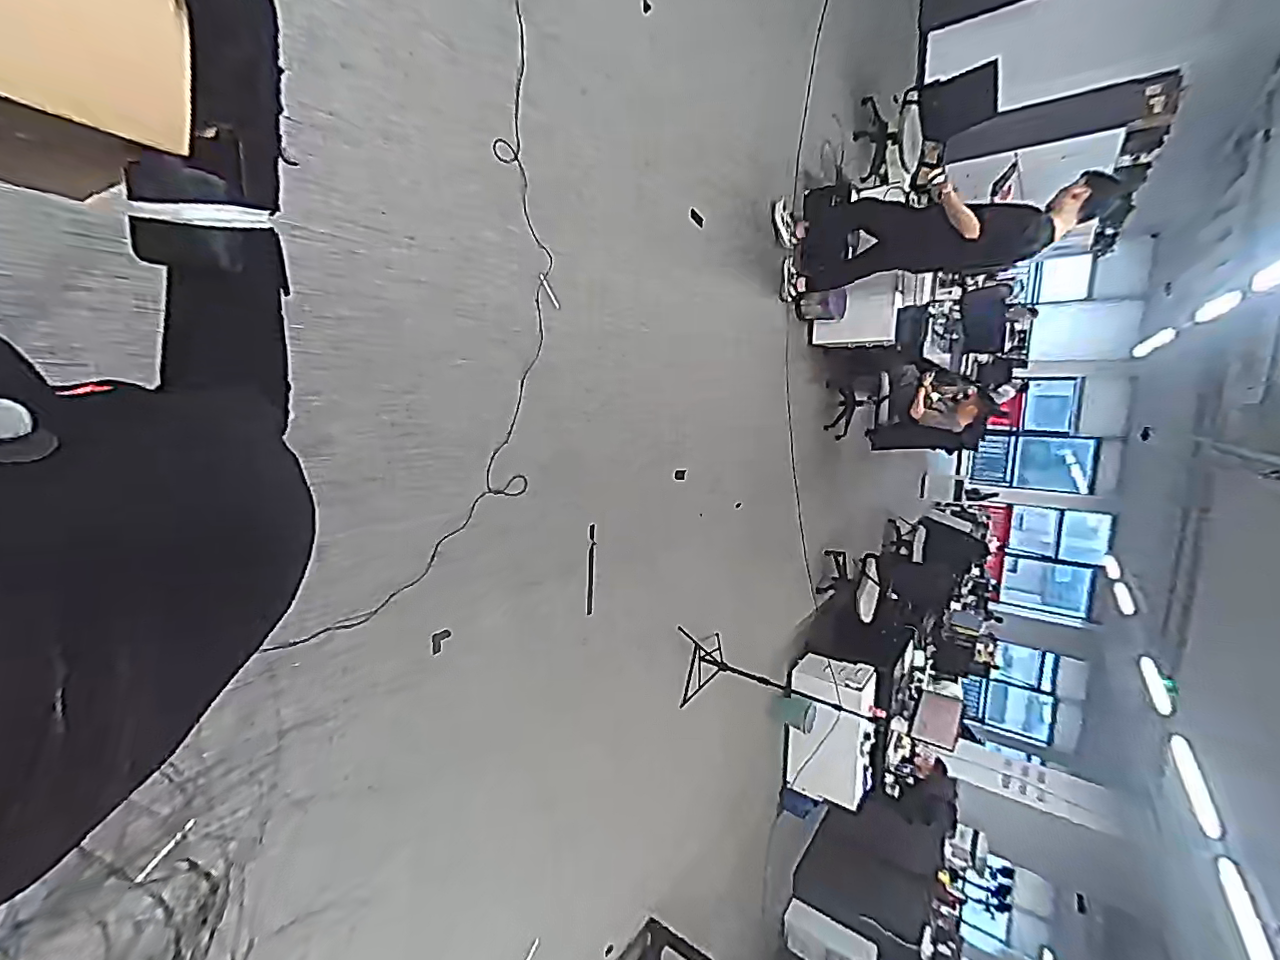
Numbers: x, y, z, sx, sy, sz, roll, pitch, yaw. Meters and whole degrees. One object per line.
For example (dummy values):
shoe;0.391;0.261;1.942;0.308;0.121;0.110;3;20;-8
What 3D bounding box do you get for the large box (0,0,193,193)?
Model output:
large box;-0.510;-0.374;0.248;0.408;0.320;0.320;-7;108;-55
